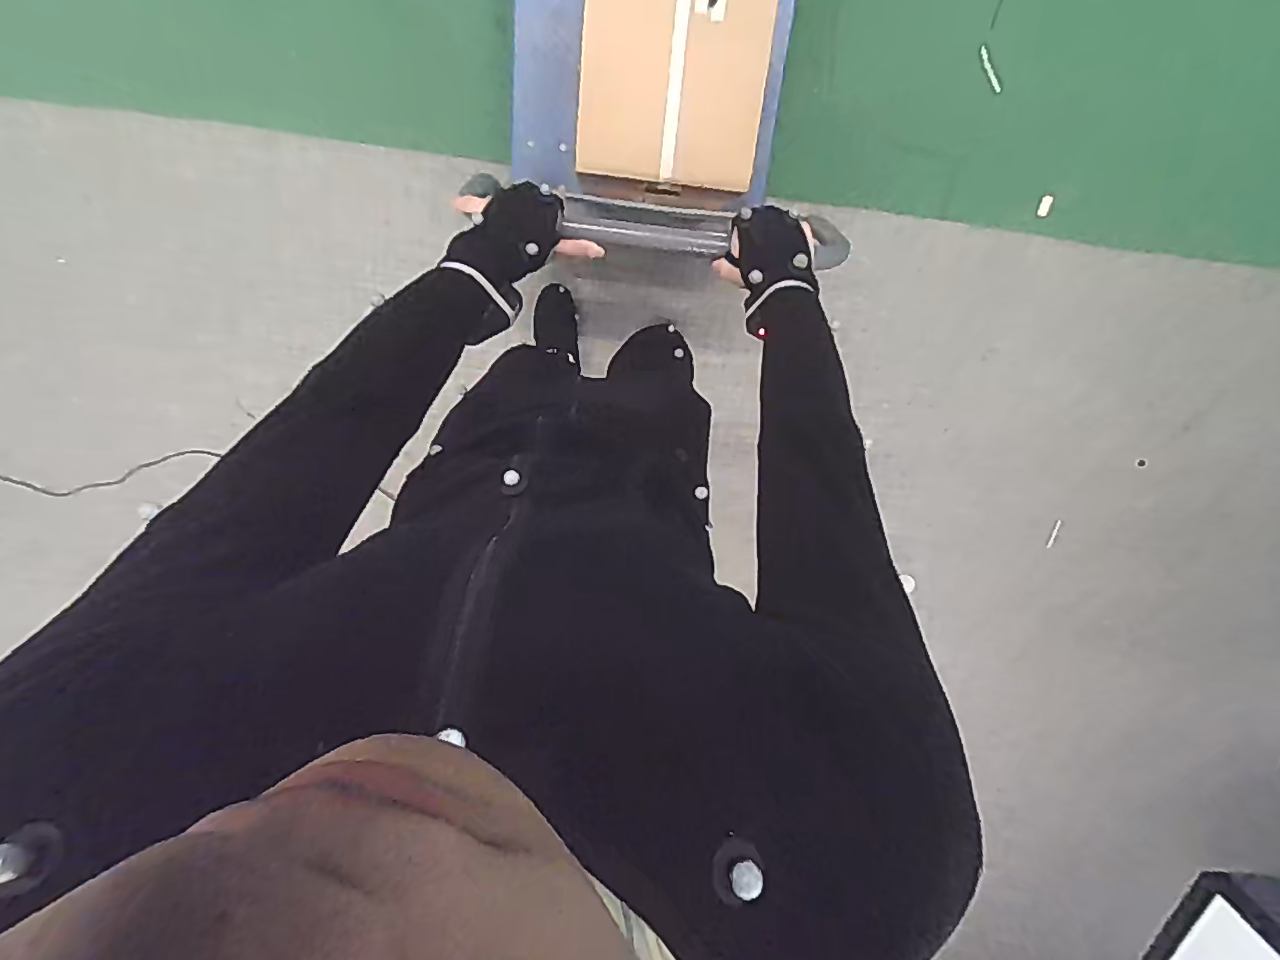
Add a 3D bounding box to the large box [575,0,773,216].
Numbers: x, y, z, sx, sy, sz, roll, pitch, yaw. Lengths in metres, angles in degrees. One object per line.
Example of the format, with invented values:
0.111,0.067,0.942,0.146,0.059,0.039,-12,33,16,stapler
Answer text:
0.048,-0.757,1.040,0.320,0.320,0.408,4,109,-6,large box
